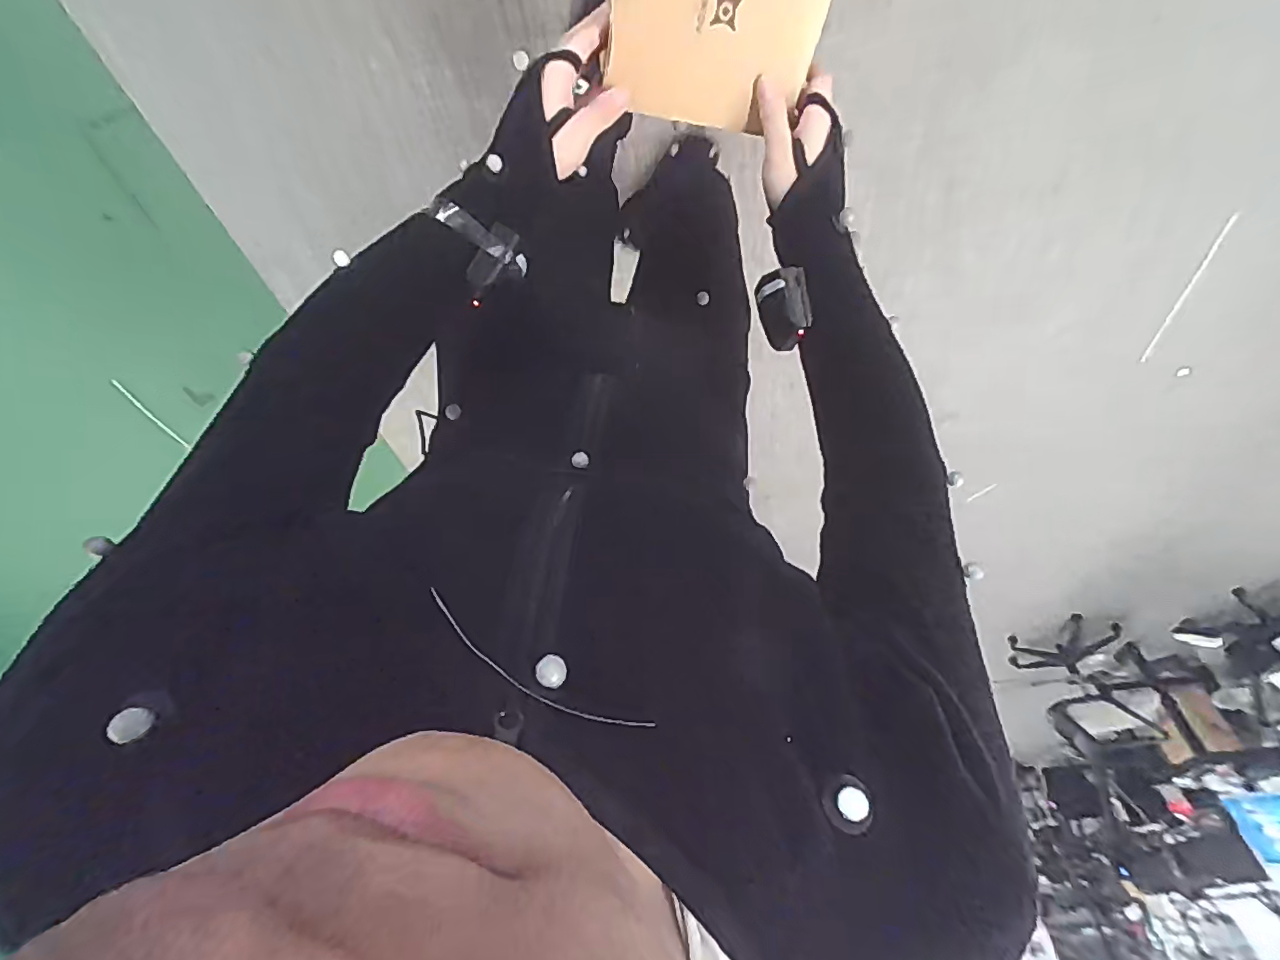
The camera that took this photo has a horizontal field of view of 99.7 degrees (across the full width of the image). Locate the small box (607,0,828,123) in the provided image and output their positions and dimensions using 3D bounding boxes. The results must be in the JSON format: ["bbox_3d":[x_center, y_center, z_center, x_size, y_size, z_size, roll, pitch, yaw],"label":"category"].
[{"bbox_3d":[0.065,-0.456,0.490,0.179,0.176,0.168,5,139,-8],"label":"small box"}]
